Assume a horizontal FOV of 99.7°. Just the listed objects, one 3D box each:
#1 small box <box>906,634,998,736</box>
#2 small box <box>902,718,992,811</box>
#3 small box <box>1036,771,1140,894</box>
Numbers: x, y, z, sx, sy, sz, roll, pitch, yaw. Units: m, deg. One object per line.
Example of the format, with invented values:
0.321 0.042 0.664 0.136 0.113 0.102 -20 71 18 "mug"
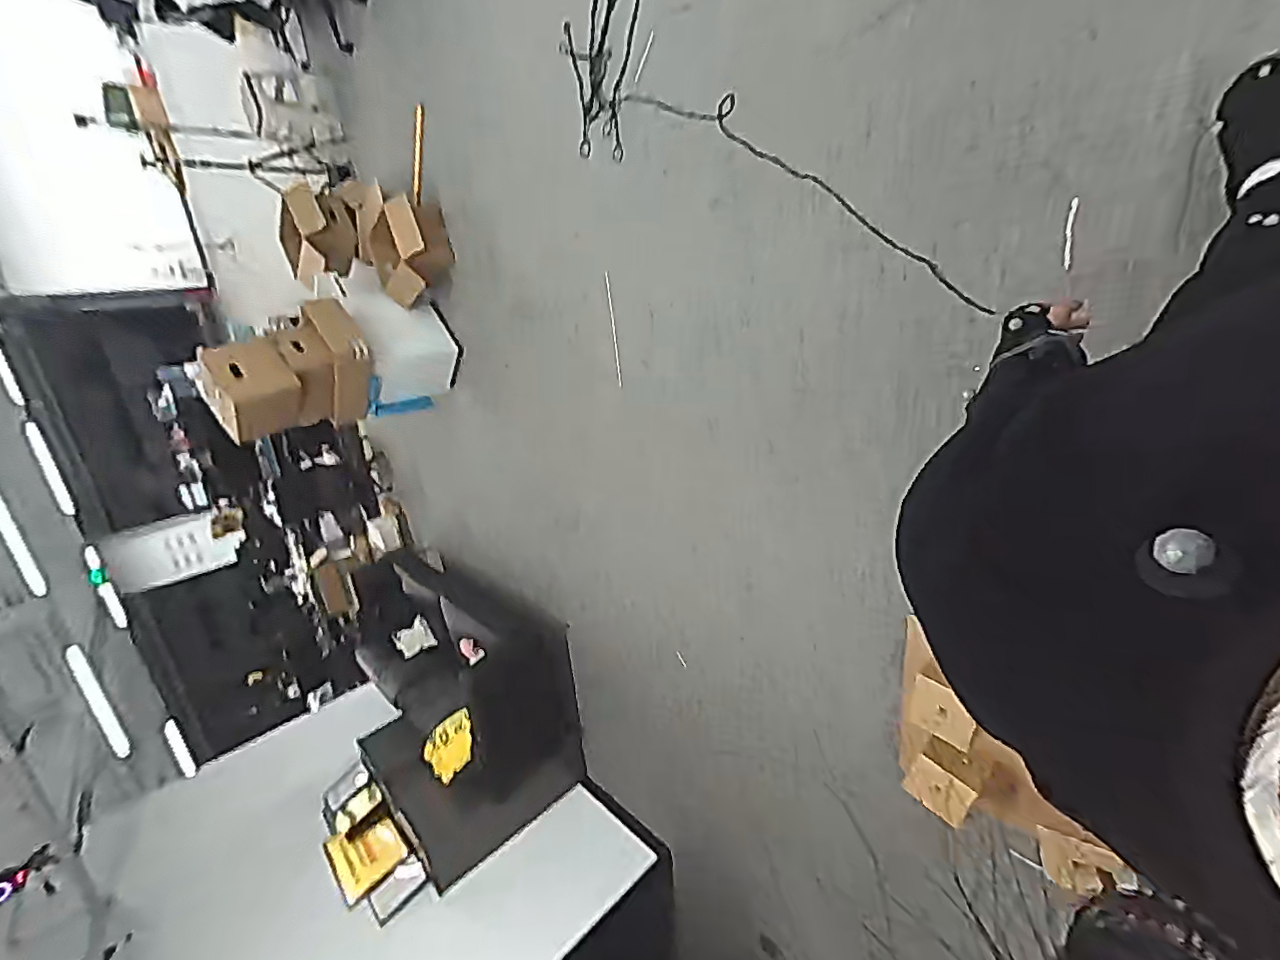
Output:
0.890 0.573 1.537 0.168 0.176 0.179 23 125 42 "small box"
0.927 0.833 1.625 0.168 0.176 0.179 30 130 38 "small box"
1.154 0.889 1.387 0.179 0.176 0.168 -6 103 52 "small box"
